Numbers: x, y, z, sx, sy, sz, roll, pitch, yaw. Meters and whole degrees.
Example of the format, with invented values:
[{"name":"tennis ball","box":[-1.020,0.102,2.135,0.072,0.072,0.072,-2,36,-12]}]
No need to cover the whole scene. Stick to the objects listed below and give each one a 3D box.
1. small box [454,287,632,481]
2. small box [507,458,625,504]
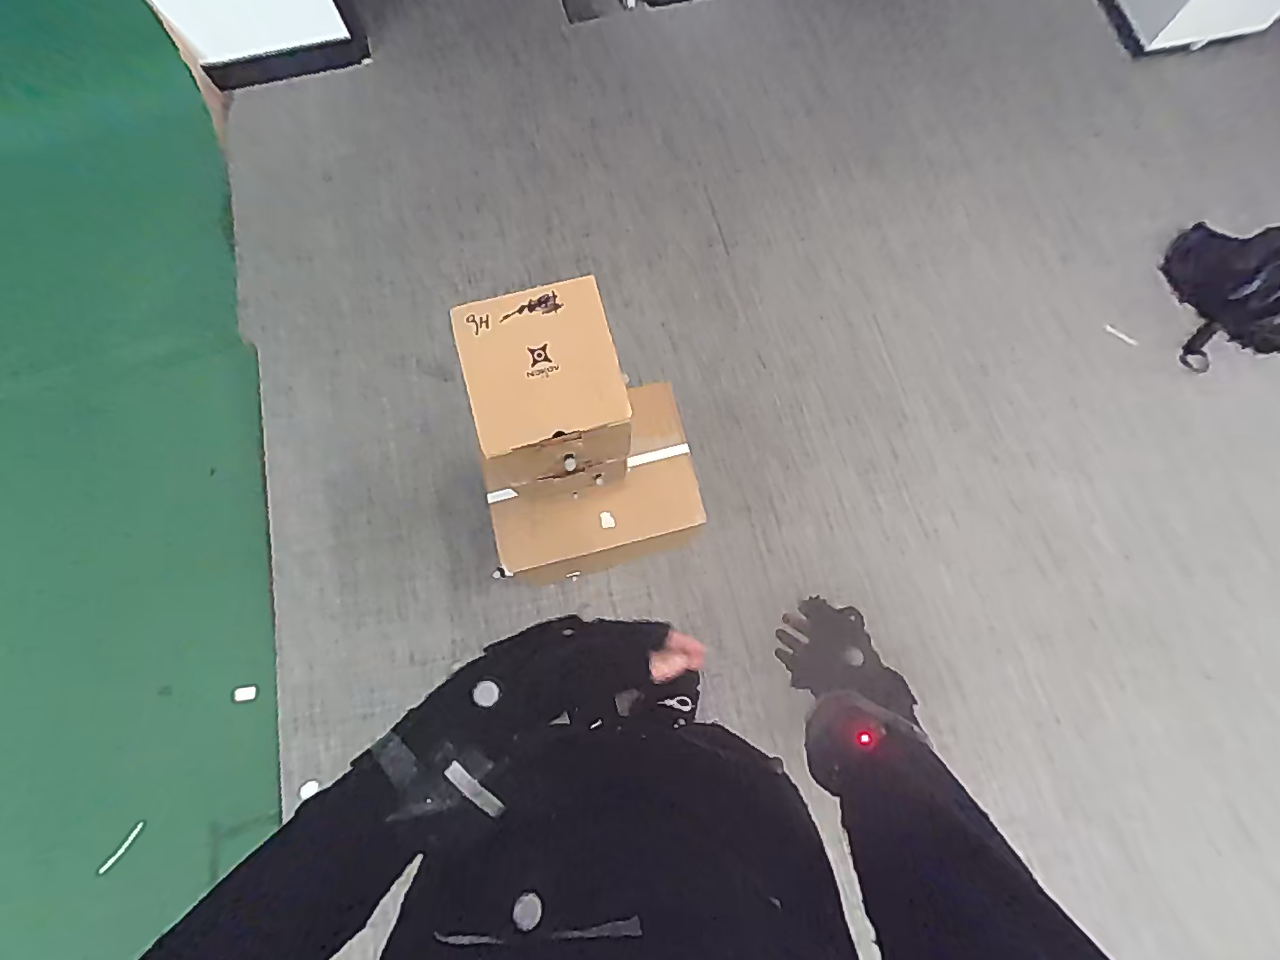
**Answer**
[{"name":"small box","box":[-0.109,-0.103,0.669,0.168,0.176,0.179,-15,81,-5]},{"name":"small box","box":[-0.121,-0.068,0.829,0.168,0.176,0.179,-15,80,-5]}]
